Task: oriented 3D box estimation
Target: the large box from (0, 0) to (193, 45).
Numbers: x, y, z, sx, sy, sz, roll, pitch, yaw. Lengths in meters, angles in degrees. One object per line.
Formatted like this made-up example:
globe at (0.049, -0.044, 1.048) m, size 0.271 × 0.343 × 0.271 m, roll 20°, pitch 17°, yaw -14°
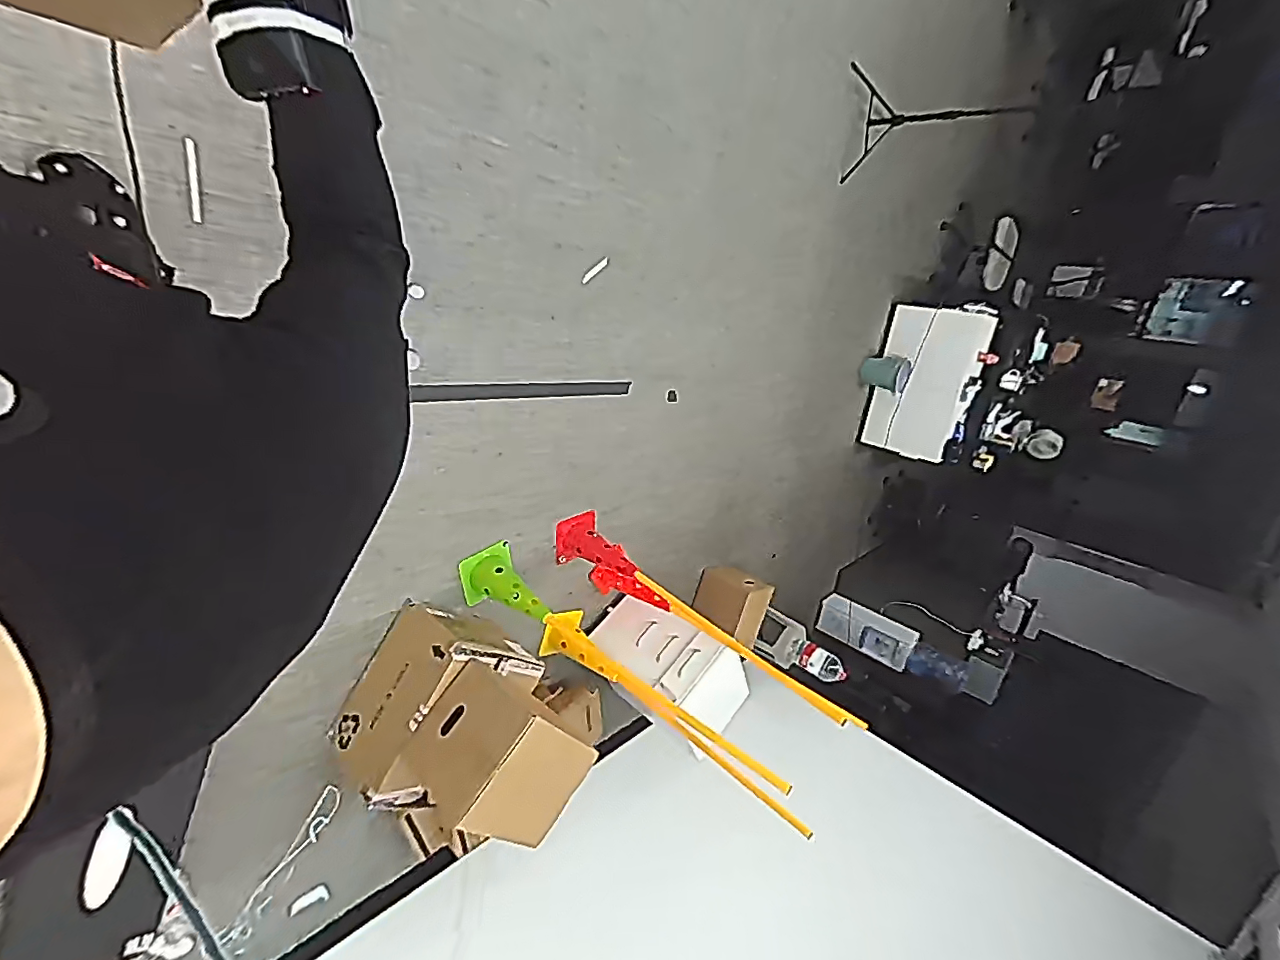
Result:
large box at (-0.483, -0.479, 0.243) m, size 0.408 × 0.320 × 0.320 m, roll -13°, pitch 120°, yaw -46°
